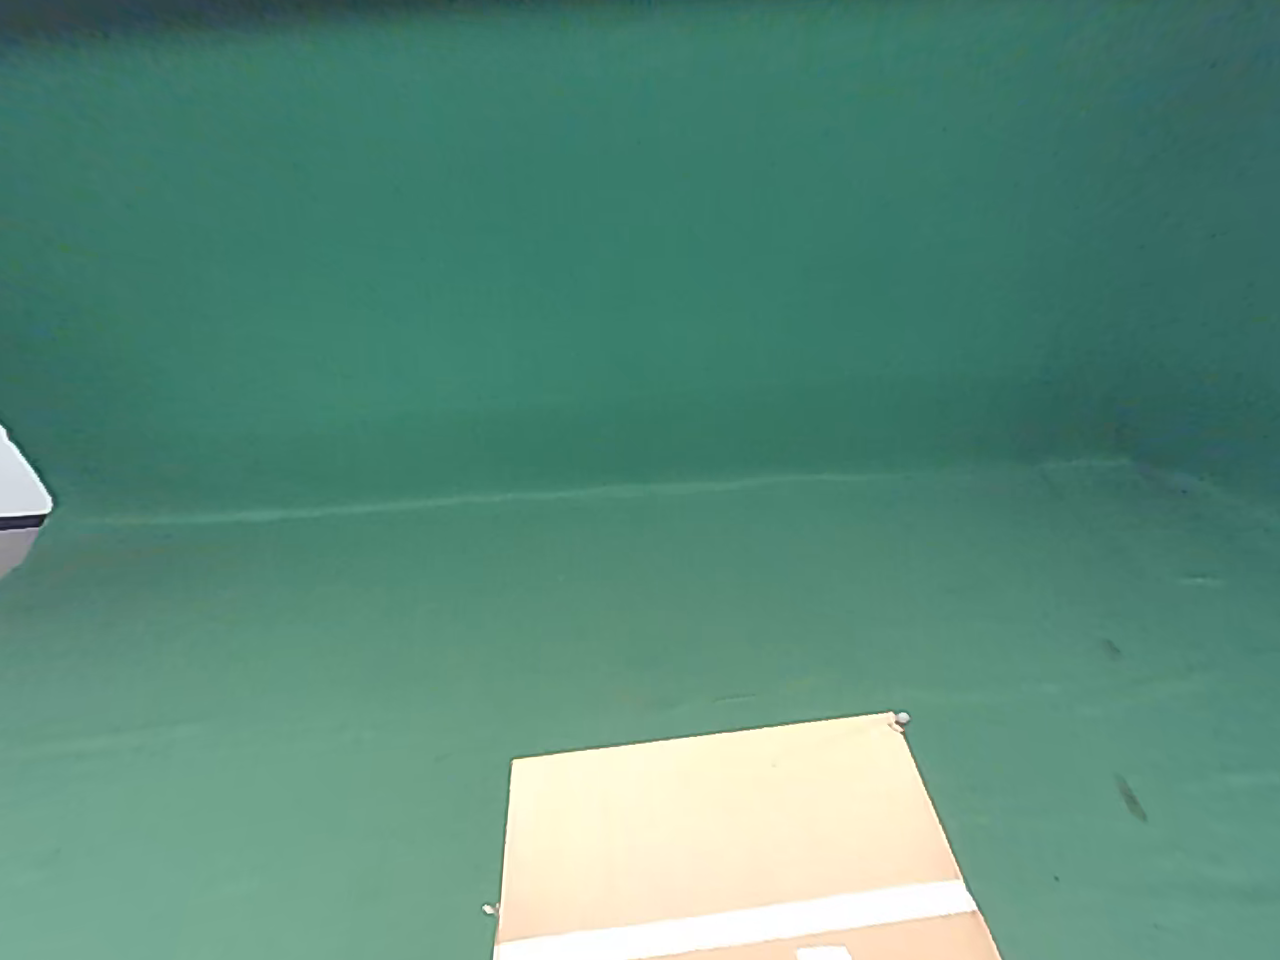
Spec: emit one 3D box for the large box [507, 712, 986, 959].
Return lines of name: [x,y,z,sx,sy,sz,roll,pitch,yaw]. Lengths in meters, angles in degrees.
large box: [0.090,0.486,0.573,0.408,0.320,0.320,-7,46,-1]
